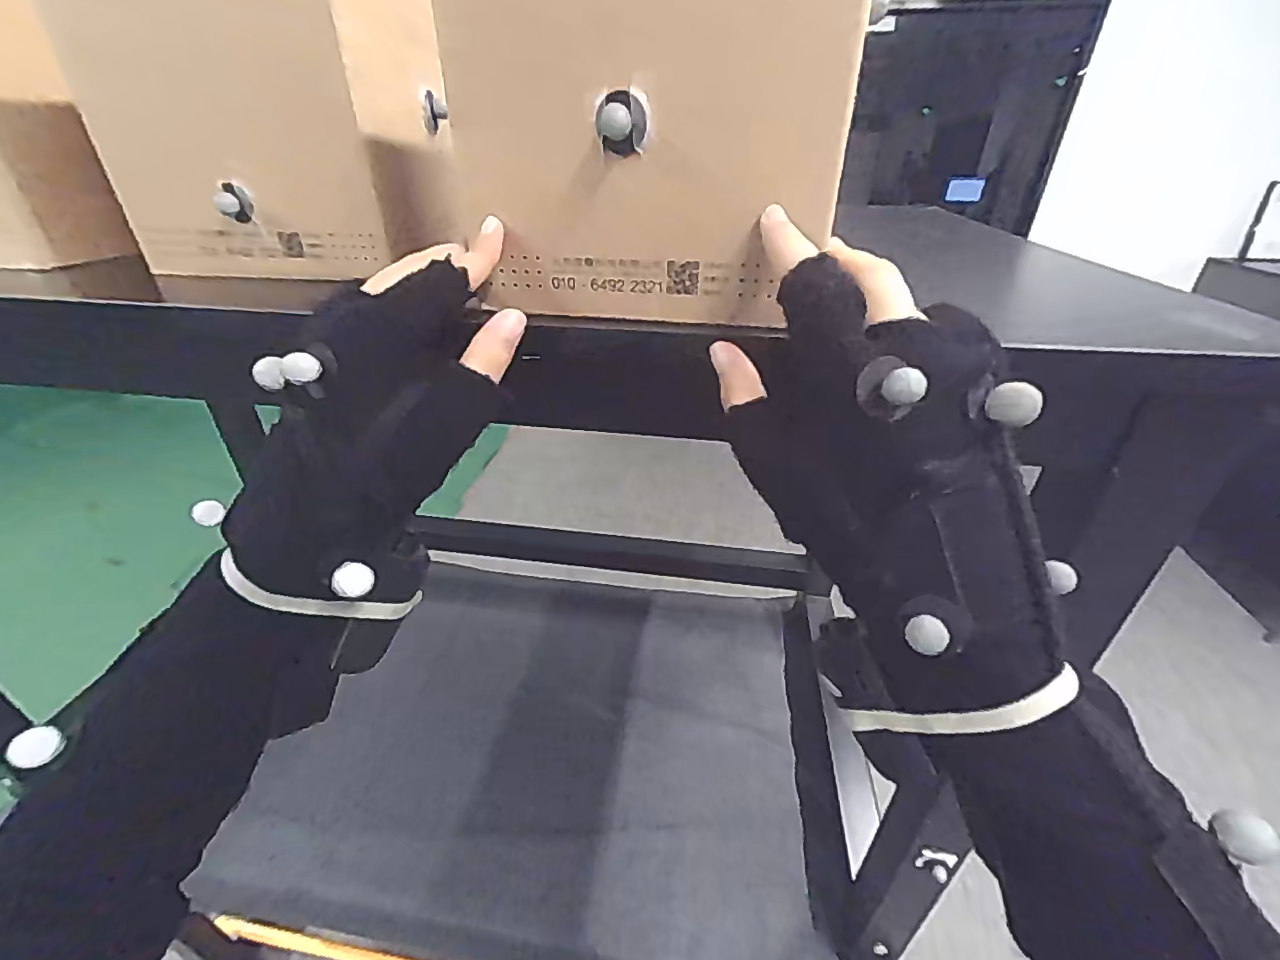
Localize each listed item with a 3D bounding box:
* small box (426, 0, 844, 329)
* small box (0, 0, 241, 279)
[{"bbox_3d":[0.012,-0.188,0.292,0.168,0.176,0.179,7,32,10],"label":"small box"},{"bbox_3d":[-0.452,-0.251,0.398,0.168,0.176,0.179,5,32,9],"label":"small box"}]
